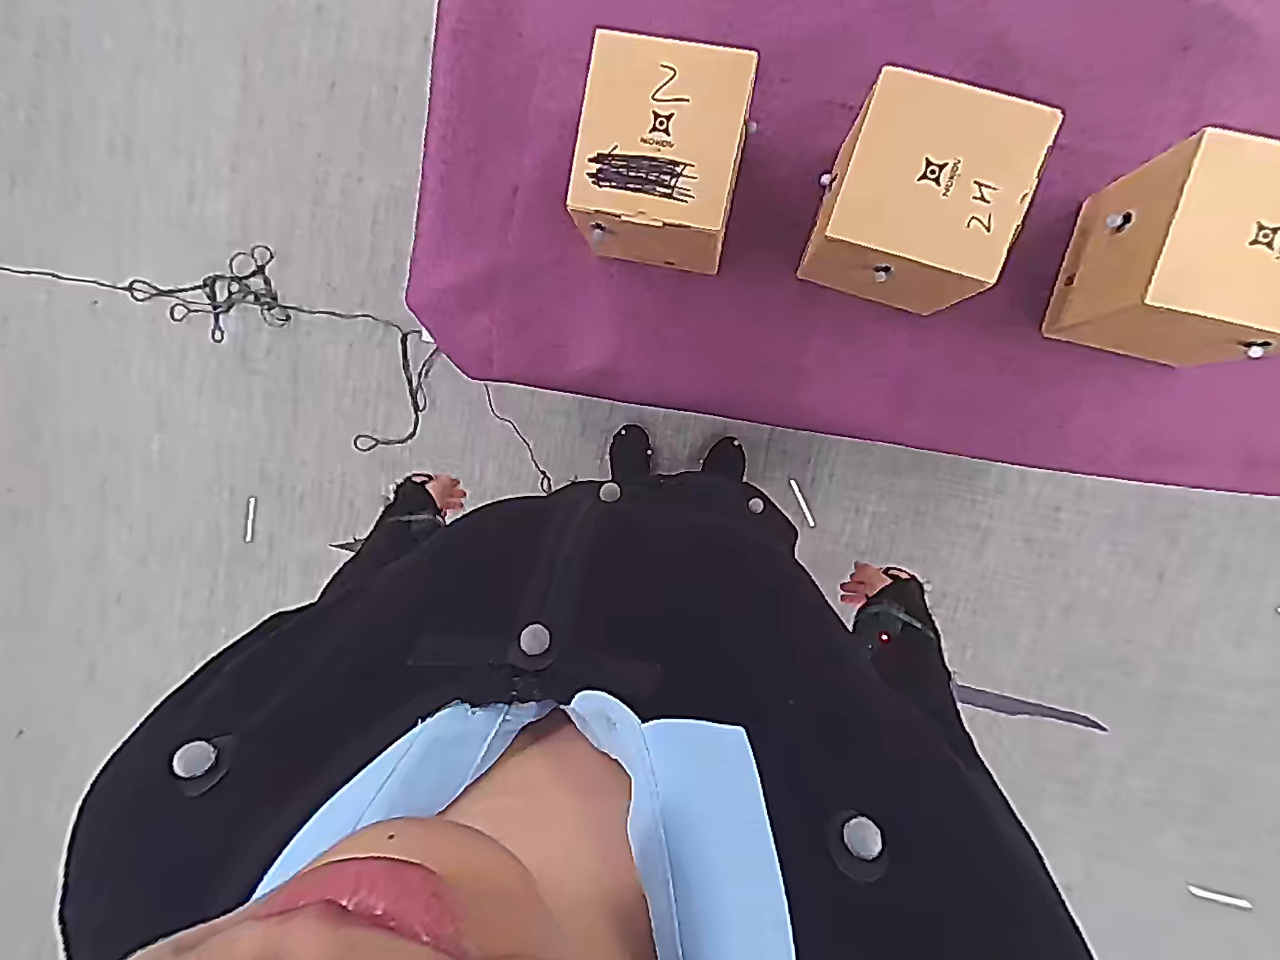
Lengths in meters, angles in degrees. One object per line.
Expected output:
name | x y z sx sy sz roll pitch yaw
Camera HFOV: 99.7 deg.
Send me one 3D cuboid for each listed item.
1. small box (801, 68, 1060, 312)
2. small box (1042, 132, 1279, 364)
small box | 0.298 -0.302 0.604 0.179 0.176 0.168 19 98 4
small box | 0.588 -0.230 0.581 0.179 0.176 0.168 15 96 4
